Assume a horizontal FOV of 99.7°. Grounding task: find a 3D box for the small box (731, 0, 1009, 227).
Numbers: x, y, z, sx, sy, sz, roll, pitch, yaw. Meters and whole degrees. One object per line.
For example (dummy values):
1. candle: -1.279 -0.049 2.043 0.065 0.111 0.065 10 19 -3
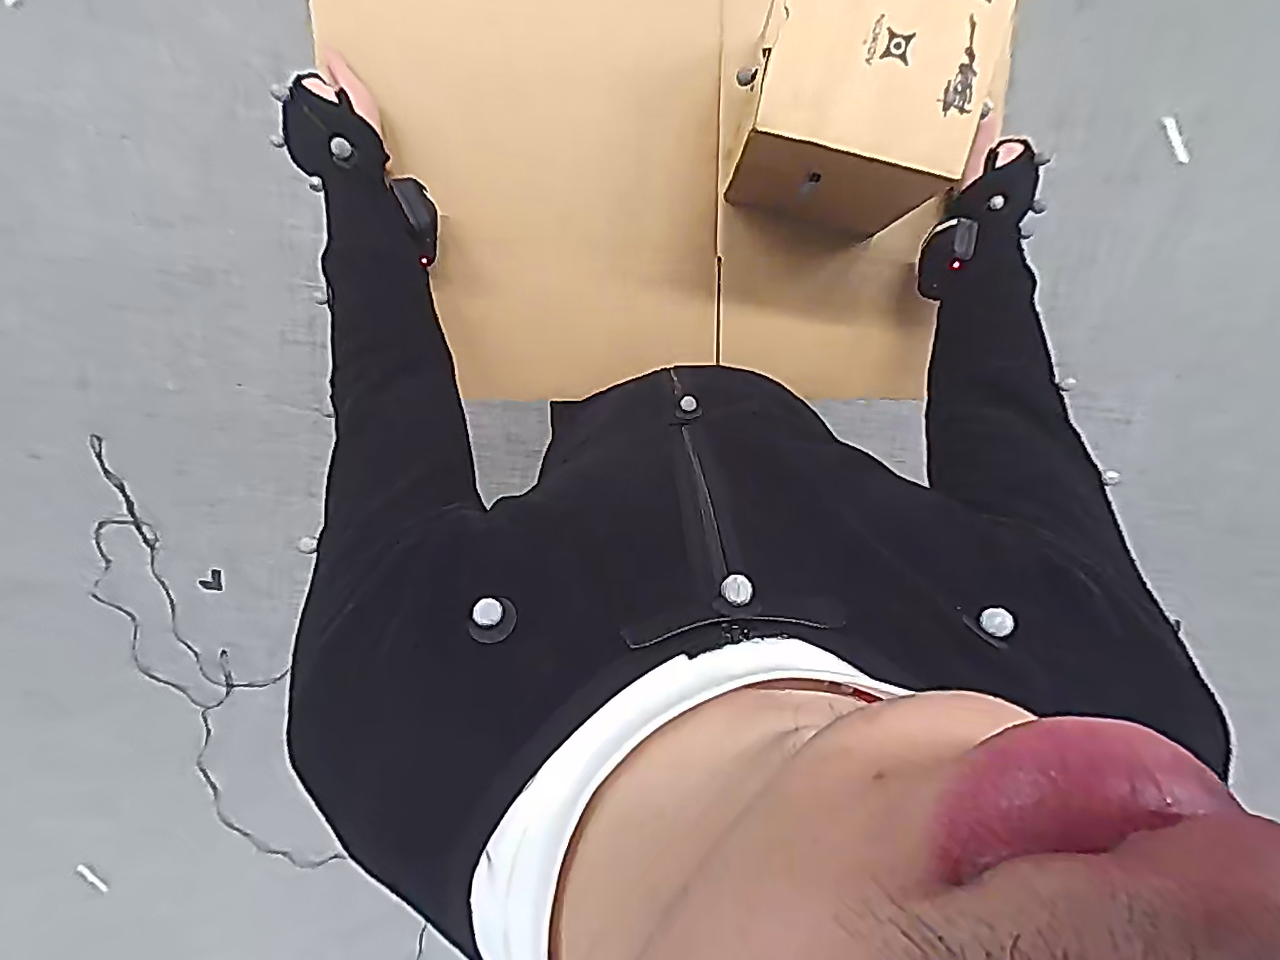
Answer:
1. small box: 0.193 -0.357 0.504 0.179 0.176 0.168 13 100 0
